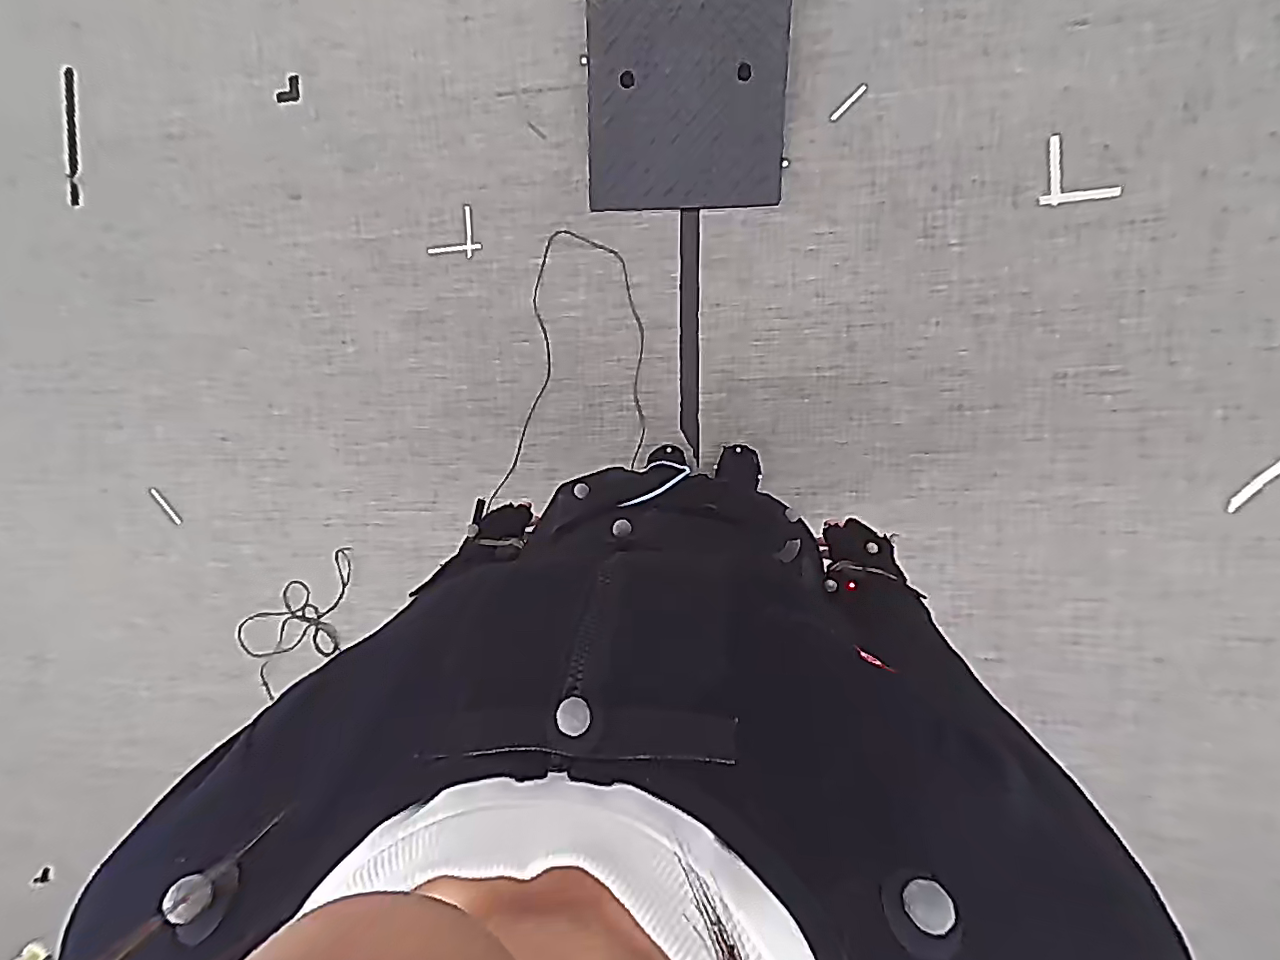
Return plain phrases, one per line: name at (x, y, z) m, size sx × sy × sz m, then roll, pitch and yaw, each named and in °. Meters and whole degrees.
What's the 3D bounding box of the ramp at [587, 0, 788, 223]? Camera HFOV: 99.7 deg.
ramp at (0.112, -1.173, 1.308) m, size 0.509 × 0.206 × 0.991 m, roll -1°, pitch 93°, yaw 8°
